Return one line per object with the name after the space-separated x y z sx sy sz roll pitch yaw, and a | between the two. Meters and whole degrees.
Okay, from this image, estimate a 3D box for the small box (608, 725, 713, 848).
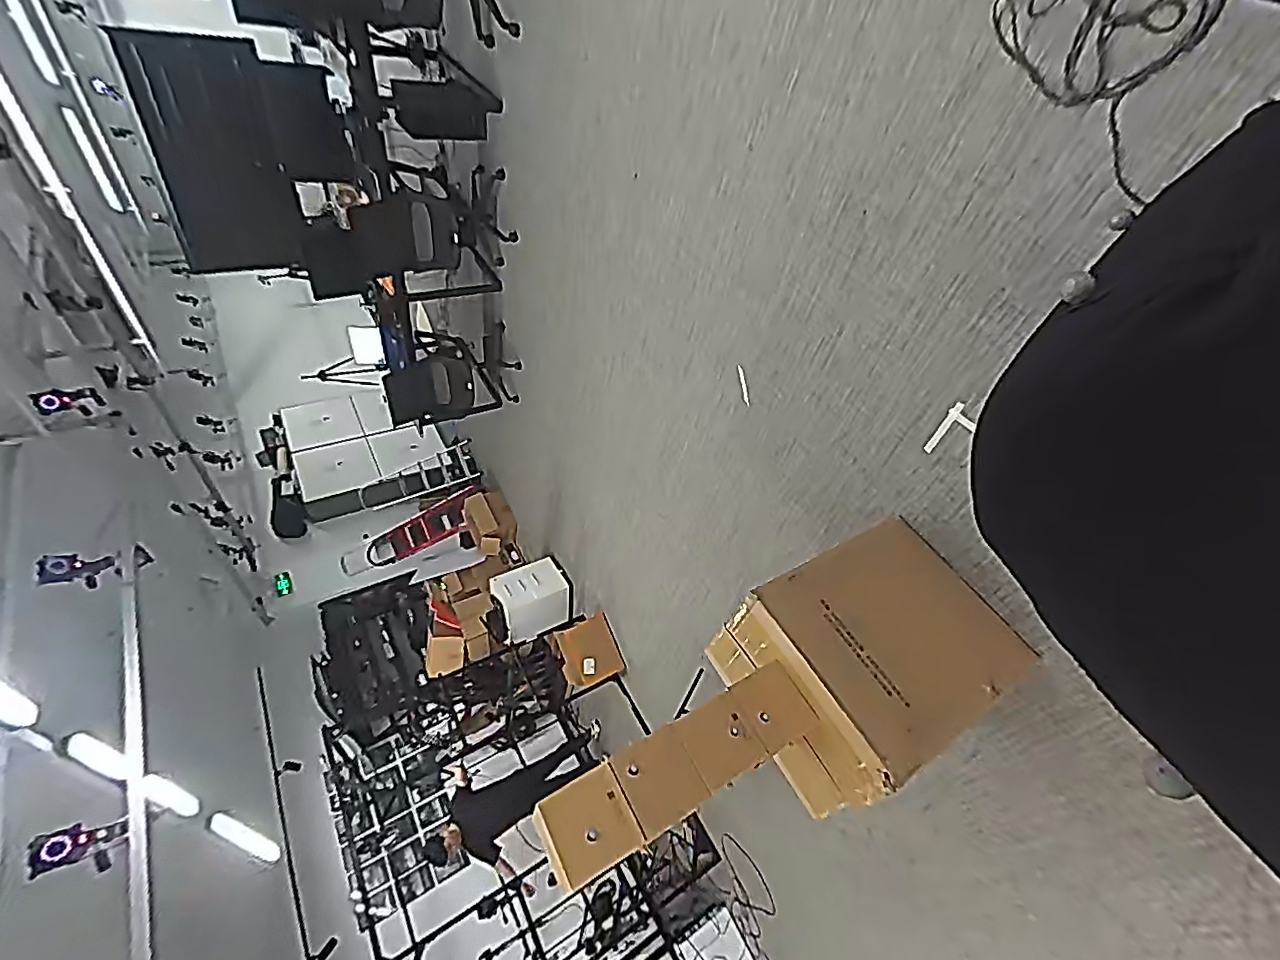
0.034 0.676 1.208 0.179 0.176 0.168 55 149 30 | small box

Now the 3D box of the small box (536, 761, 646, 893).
-0.104 0.724 1.137 0.168 0.176 0.179 55 148 30 | small box

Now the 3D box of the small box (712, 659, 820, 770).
0.314 0.581 1.351 0.179 0.176 0.168 56 149 30 | small box
